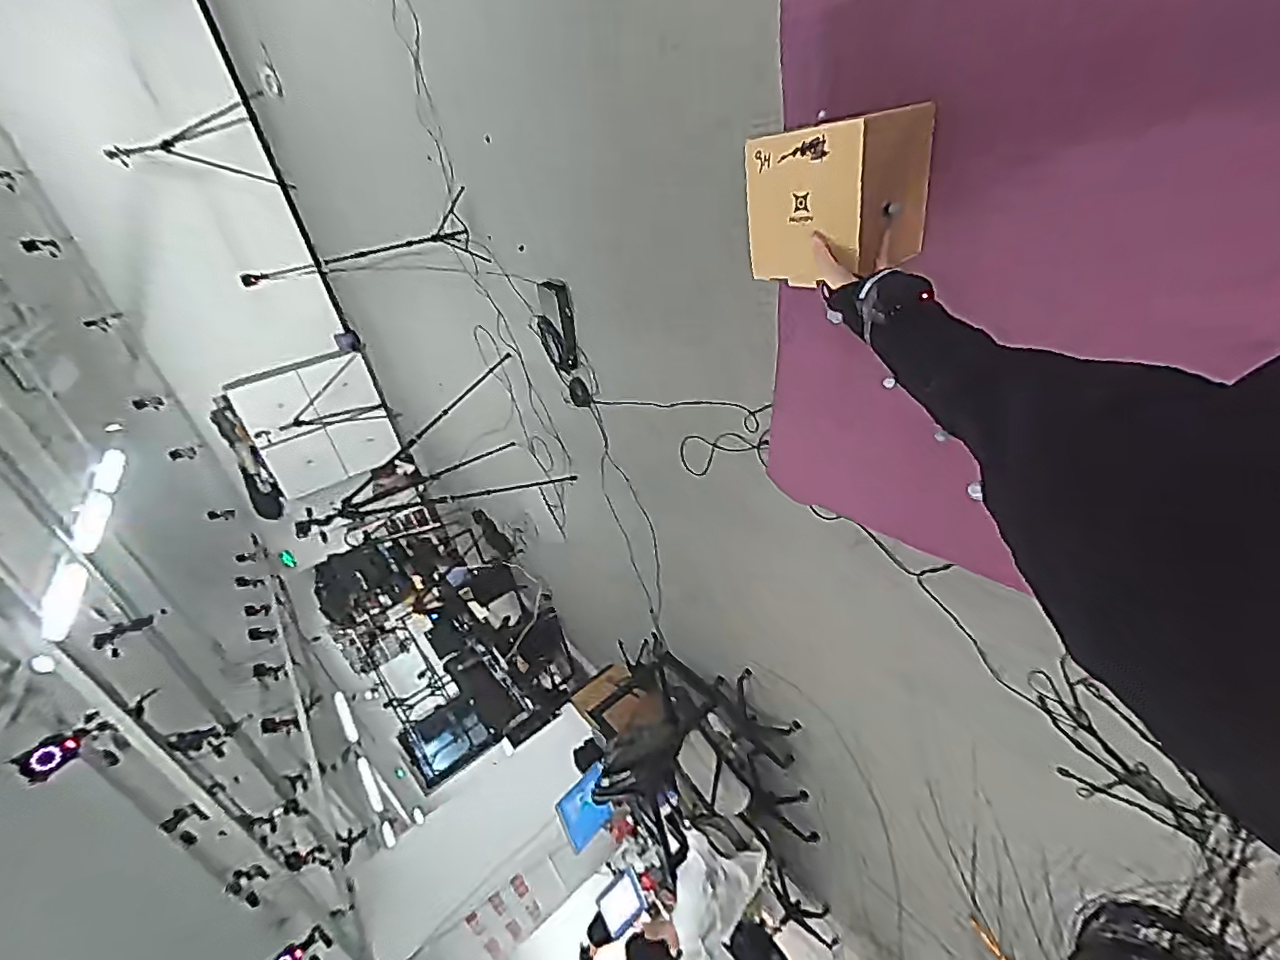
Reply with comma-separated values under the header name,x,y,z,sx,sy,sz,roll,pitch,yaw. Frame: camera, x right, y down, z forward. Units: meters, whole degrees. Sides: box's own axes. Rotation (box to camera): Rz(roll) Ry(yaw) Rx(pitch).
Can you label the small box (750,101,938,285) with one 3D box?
name,x,y,z,sx,sy,sz,roll,pitch,yaw
small box,0.268,-0.373,0.713,0.168,0.176,0.179,23,136,44
